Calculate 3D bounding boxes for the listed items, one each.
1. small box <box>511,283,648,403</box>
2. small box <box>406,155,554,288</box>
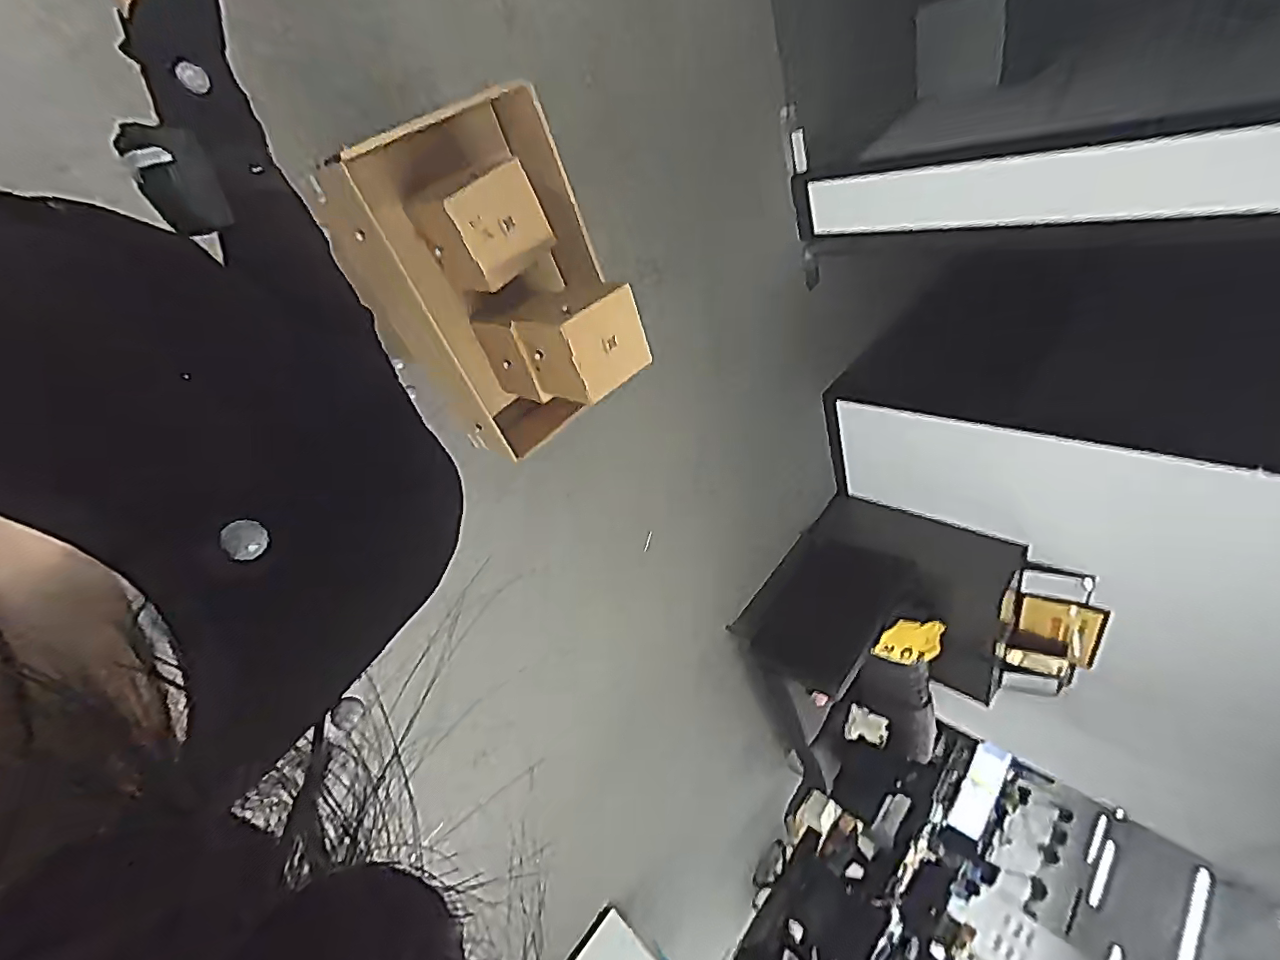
[{"bbox_3d":[-0.117,-0.276,1.060,0.179,0.176,0.168,-41,131,-27],"label":"small box"},{"bbox_3d":[-0.302,-0.486,1.024,0.179,0.176,0.168,-46,134,-23],"label":"small box"}]
